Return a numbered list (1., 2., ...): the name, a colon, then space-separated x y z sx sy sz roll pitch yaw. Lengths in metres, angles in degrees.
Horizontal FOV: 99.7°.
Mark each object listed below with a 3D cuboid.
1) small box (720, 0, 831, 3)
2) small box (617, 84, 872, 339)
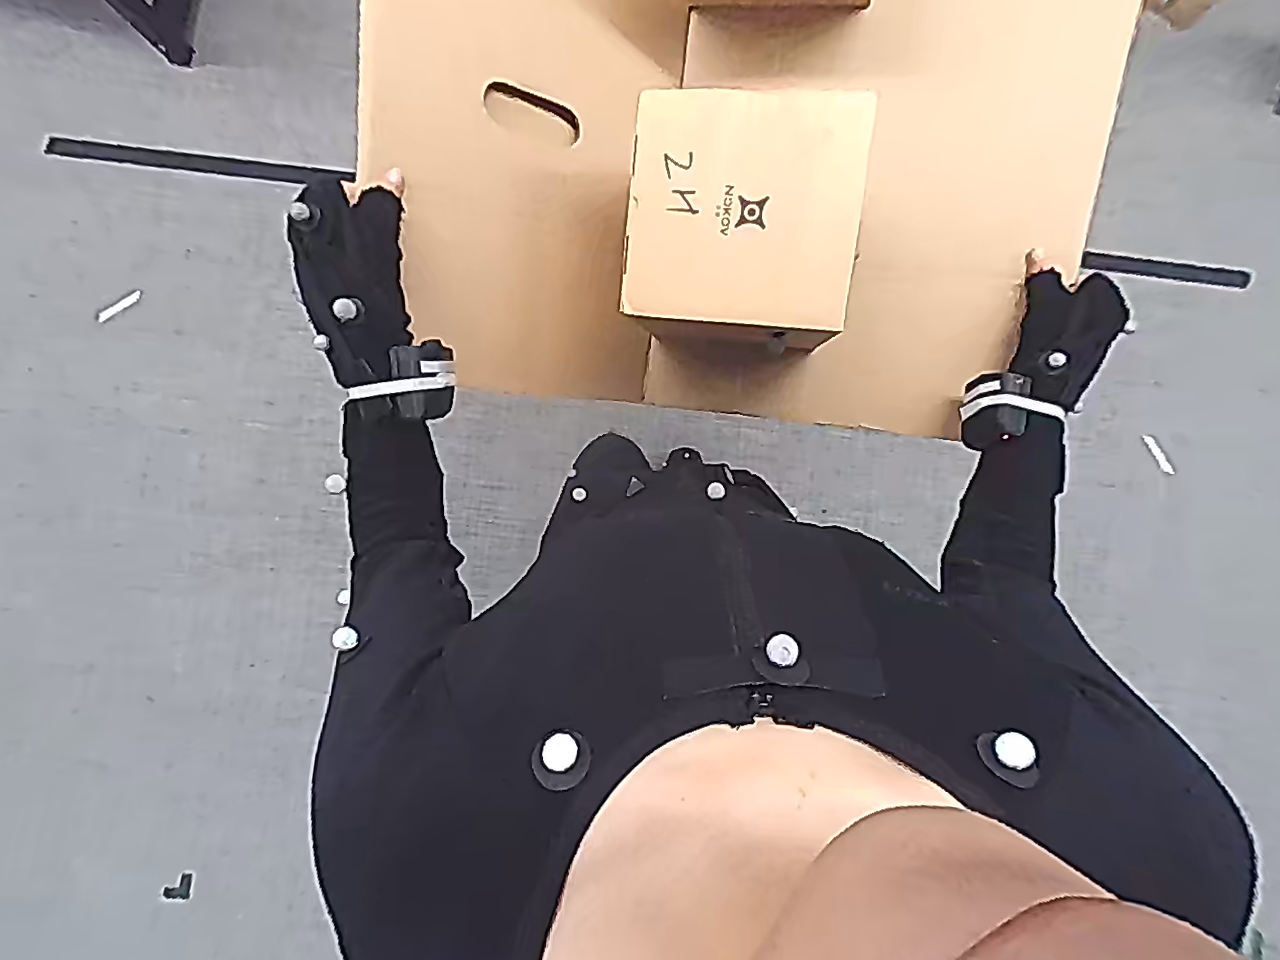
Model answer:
1. small box: 0.120 -0.535 0.439 0.179 0.176 0.168 8 100 9
2. small box: 0.089 -0.225 0.493 0.179 0.176 0.168 8 100 10
